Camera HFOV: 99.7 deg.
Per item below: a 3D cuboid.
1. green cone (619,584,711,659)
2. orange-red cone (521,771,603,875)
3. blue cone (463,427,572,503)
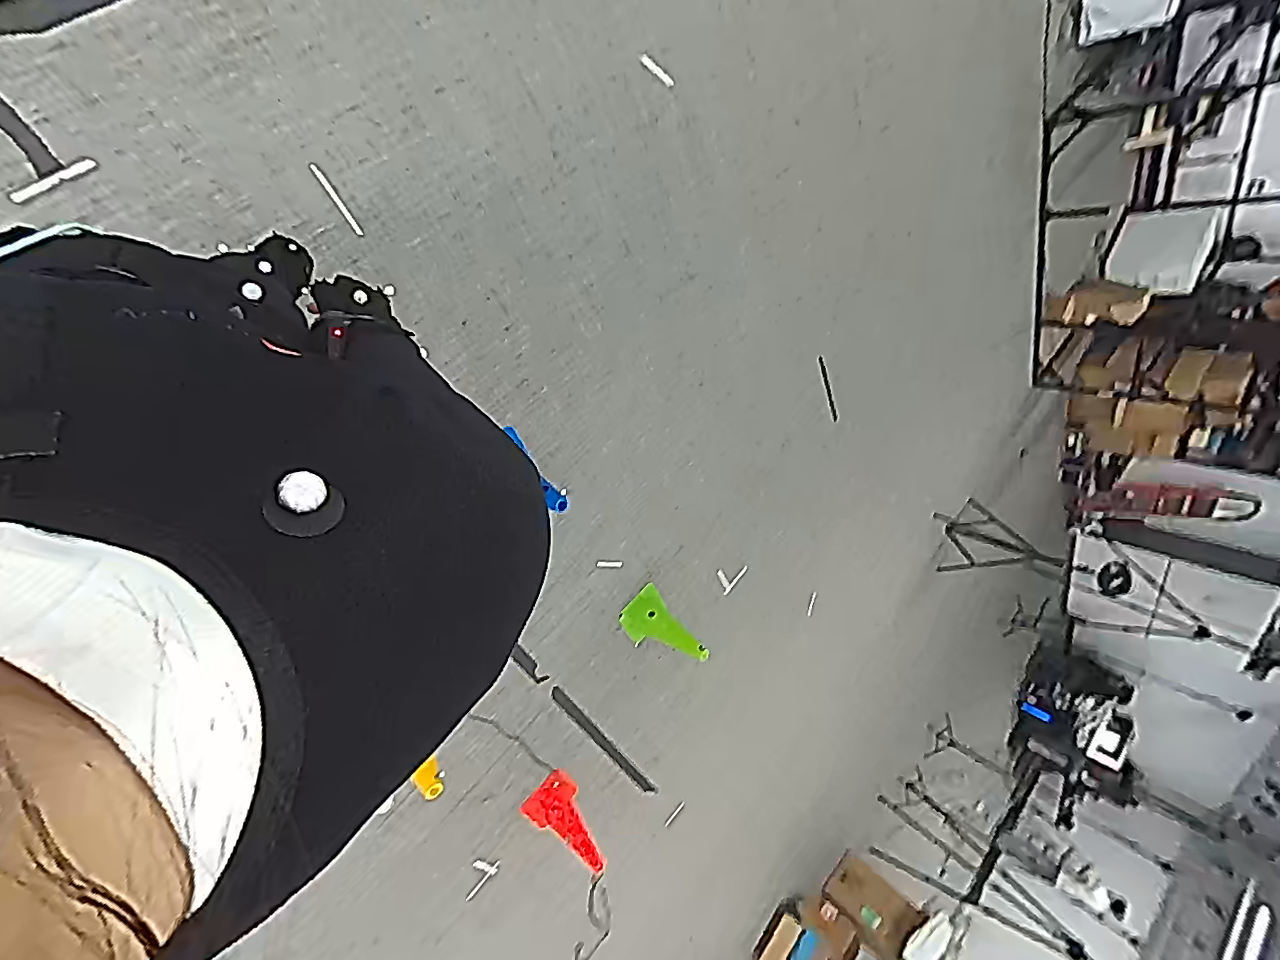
[{"bbox_3d":[0.123,0.582,2.051,0.202,0.368,0.200,-45,129,-21],"label":"green cone"},{"bbox_3d":[-0.251,1.304,1.994,0.199,0.360,0.198,-39,126,-22],"label":"orange-red cone"},{"bbox_3d":[-0.311,0.000,1.488,0.192,0.380,0.193,-41,128,-23],"label":"blue cone"}]
